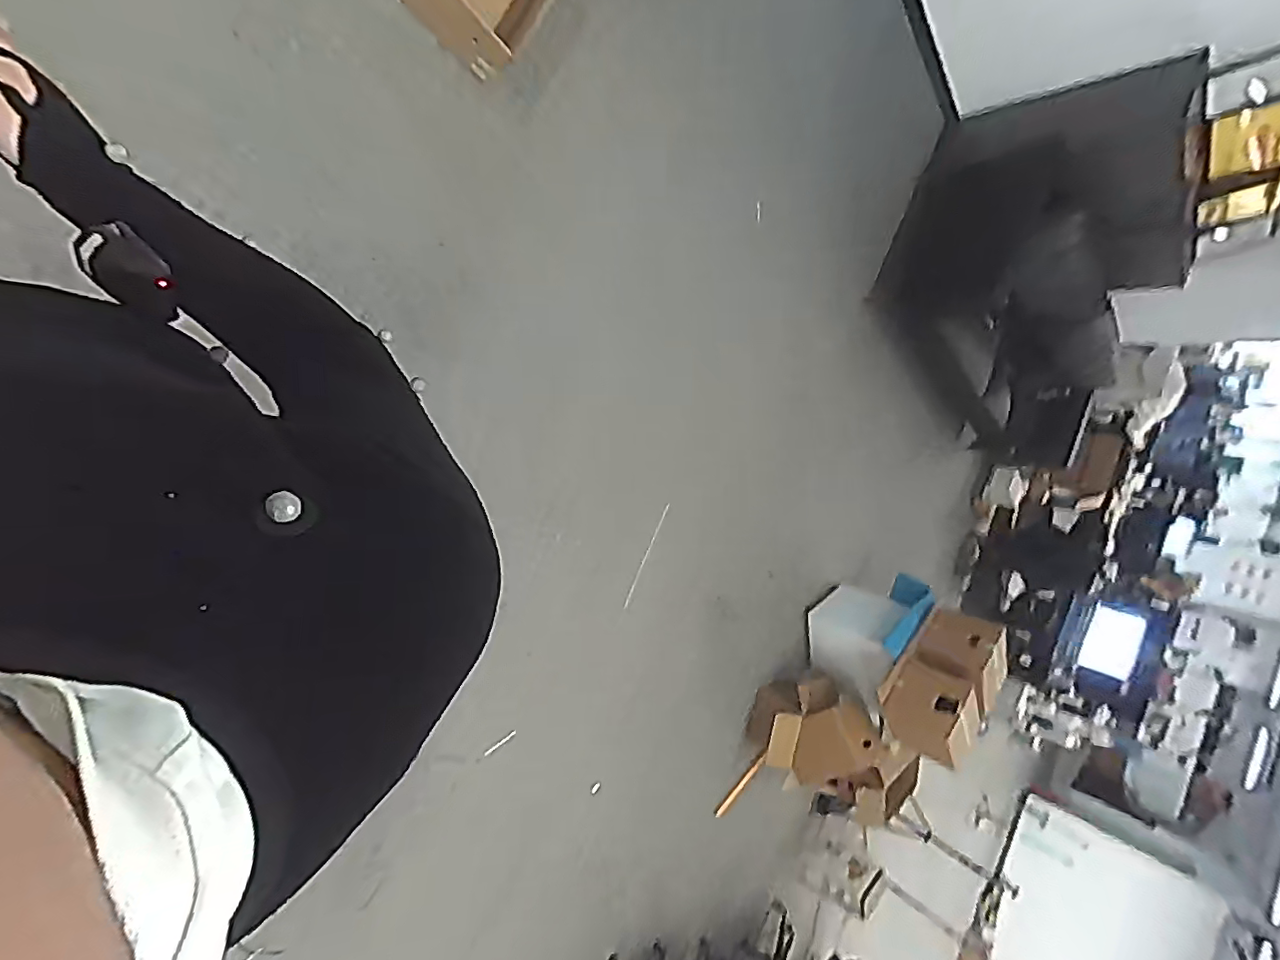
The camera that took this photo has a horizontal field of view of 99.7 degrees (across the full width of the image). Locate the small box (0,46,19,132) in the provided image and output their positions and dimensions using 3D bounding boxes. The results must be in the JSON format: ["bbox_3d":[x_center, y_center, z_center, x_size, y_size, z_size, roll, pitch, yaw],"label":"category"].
[{"bbox_3d":[-0.616,-0.392,0.405,0.168,0.176,0.179,-16,115,-41],"label":"small box"}]
